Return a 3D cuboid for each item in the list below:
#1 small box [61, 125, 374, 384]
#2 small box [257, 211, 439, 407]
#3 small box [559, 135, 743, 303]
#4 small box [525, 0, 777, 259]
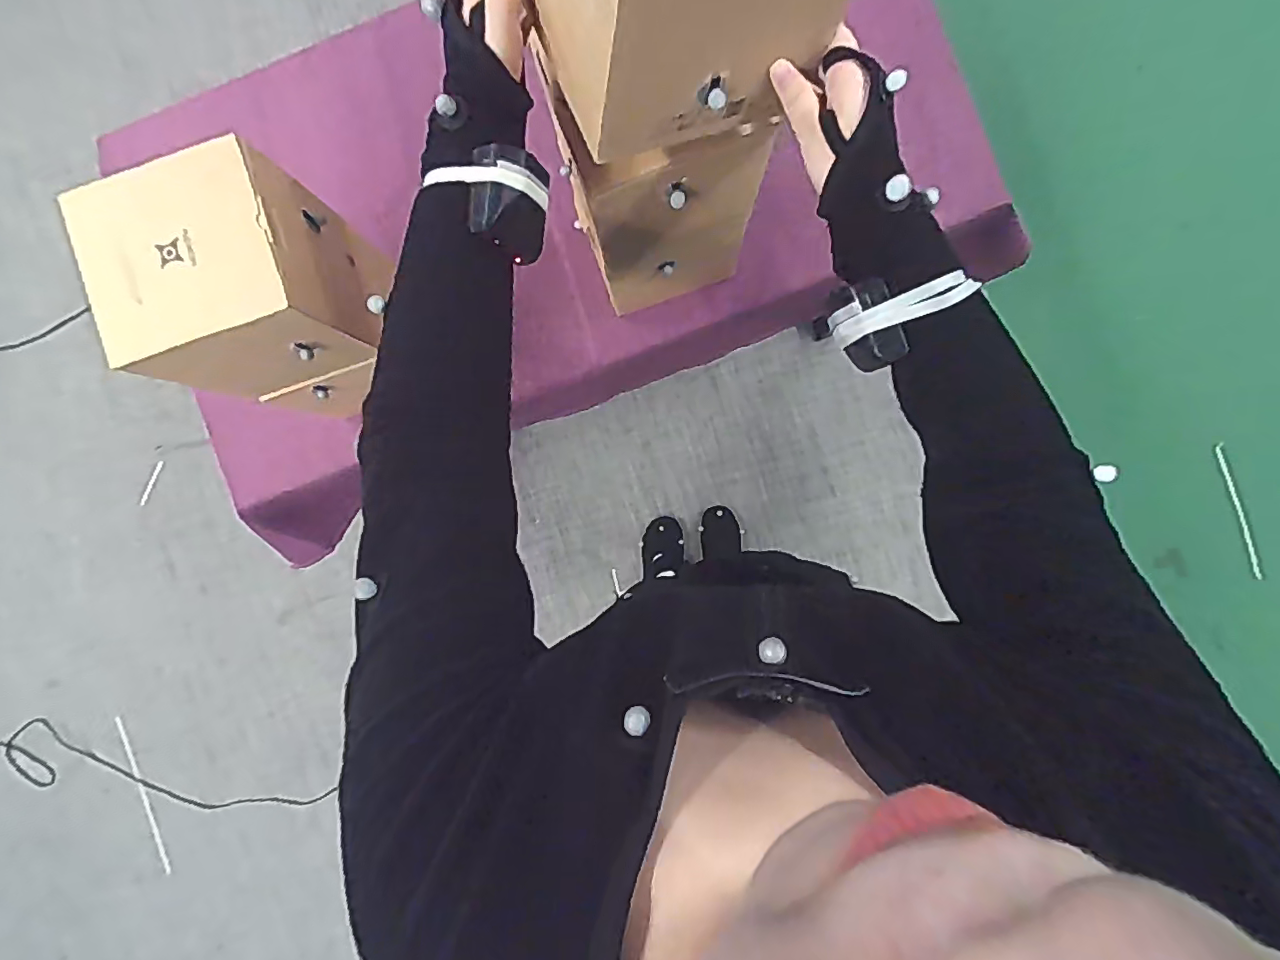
[{"bbox_3d":[-0.404,-0.210,0.555,0.179,0.176,0.168,-17,90,3],"label":"small box"},{"bbox_3d":[-0.396,-0.212,0.718,0.168,0.176,0.179,-18,89,3],"label":"small box"},{"bbox_3d":[0.016,-0.351,0.696,0.179,0.176,0.168,-19,90,2],"label":"small box"},{"bbox_3d":[0.012,-0.350,0.533,0.179,0.176,0.168,-20,90,4],"label":"small box"}]
